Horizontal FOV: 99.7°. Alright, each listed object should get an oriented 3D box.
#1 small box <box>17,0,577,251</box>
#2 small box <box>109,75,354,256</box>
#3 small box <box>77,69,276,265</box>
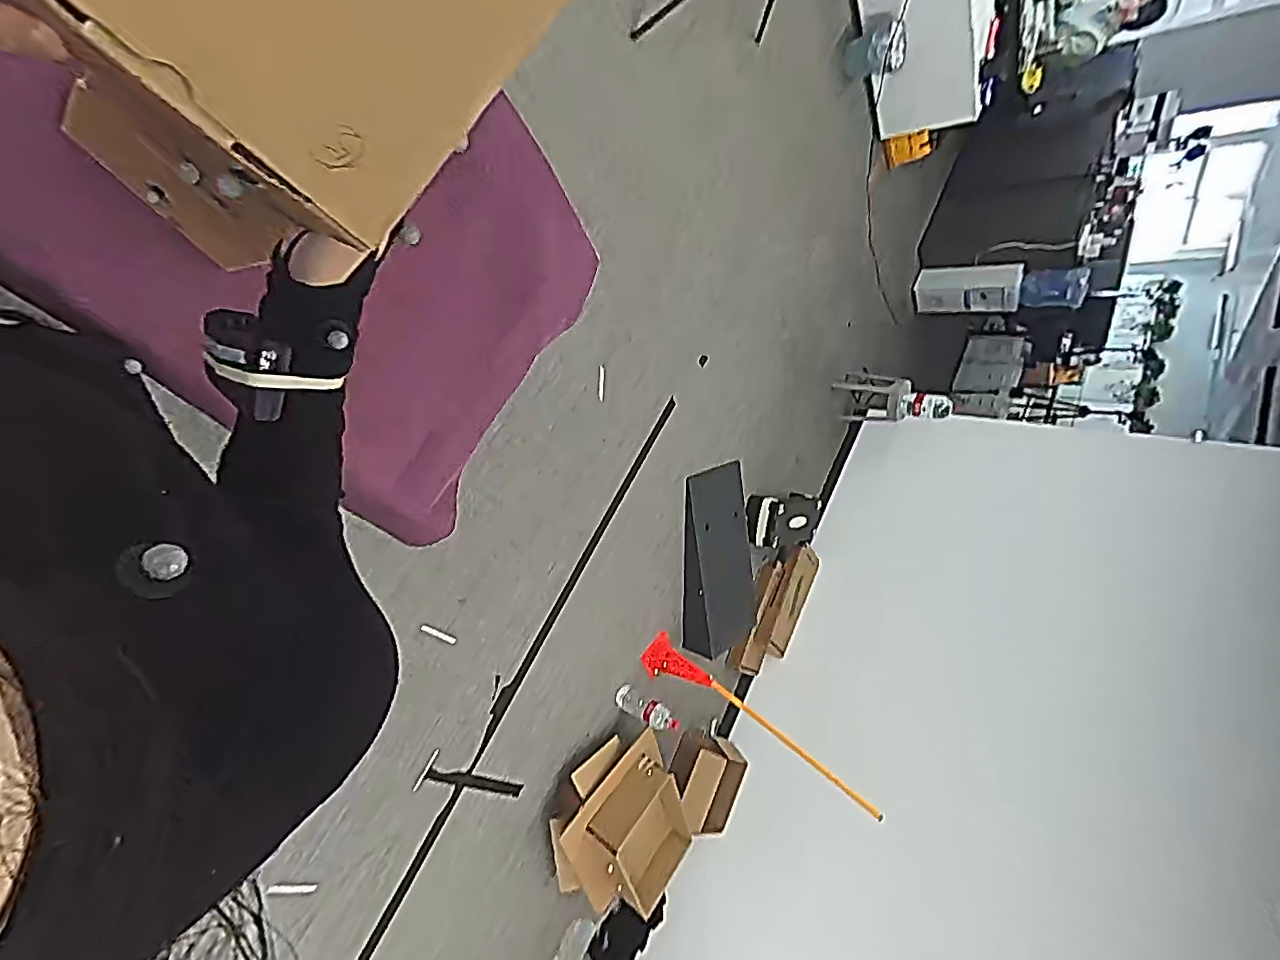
[{"bbox_3d":[-0.167,-0.241,0.252,0.179,0.176,0.168,-56,140,-3],"label":"small box"},{"bbox_3d":[-0.288,-0.314,0.454,0.179,0.176,0.168,-58,138,-20],"label":"small box"},{"bbox_3d":[-0.415,-0.342,0.555,0.179,0.176,0.168,-59,138,-21],"label":"small box"}]
